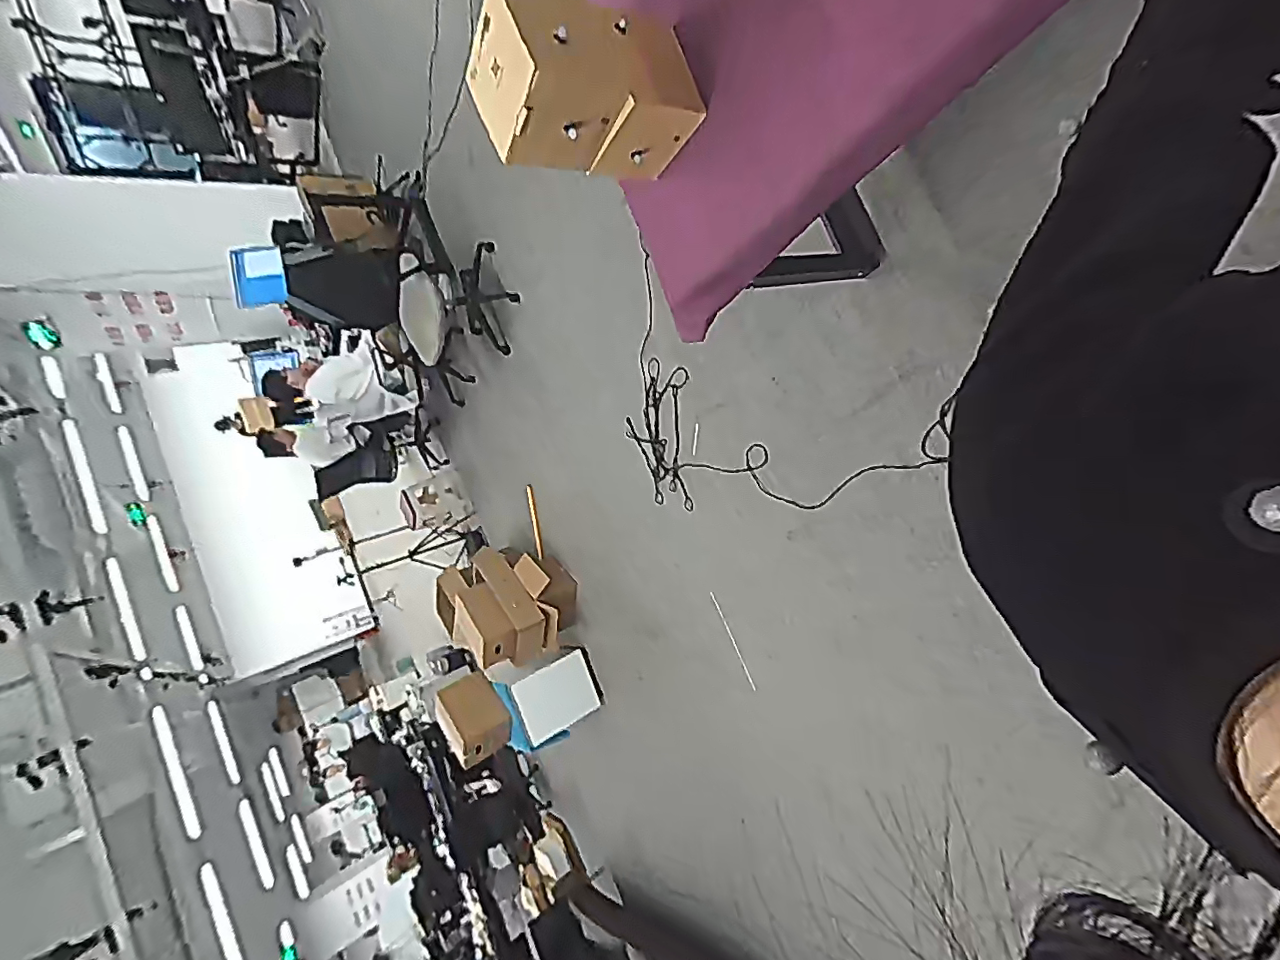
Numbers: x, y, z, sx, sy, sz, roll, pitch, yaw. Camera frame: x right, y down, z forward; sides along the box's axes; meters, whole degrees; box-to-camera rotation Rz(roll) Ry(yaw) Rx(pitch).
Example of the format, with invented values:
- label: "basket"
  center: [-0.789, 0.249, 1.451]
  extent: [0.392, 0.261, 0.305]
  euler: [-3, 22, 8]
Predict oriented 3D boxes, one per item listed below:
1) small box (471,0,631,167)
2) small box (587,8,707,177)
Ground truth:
- label: "small box"
  center: [-0.141, -0.631, 0.859]
  extent: [0.168, 0.176, 0.179]
  euler: [-35, 77, 54]
- label: "small box"
  center: [-0.009, -0.666, 0.951]
  extent: [0.168, 0.176, 0.179]
  euler: [-26, 84, 55]
